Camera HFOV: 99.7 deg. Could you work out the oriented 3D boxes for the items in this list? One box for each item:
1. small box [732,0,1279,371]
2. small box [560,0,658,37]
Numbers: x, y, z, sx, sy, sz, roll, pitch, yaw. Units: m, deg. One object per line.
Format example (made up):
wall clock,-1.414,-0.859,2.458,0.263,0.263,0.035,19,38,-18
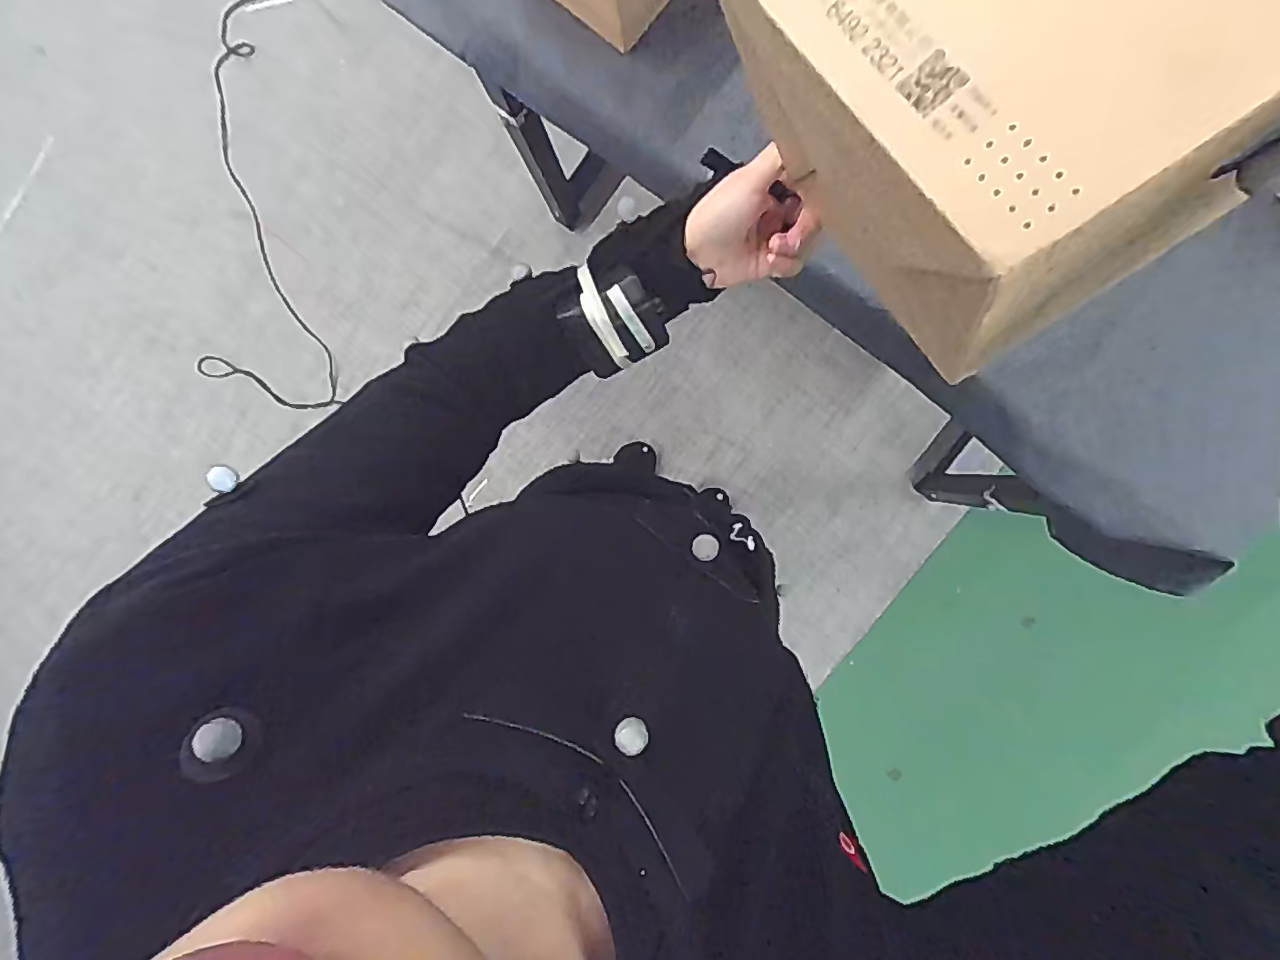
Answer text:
small box,0.160,-0.167,0.221,0.176,0.179,0.168,-35,75,21
small box,-0.036,-0.607,0.543,0.179,0.176,0.168,40,92,2
